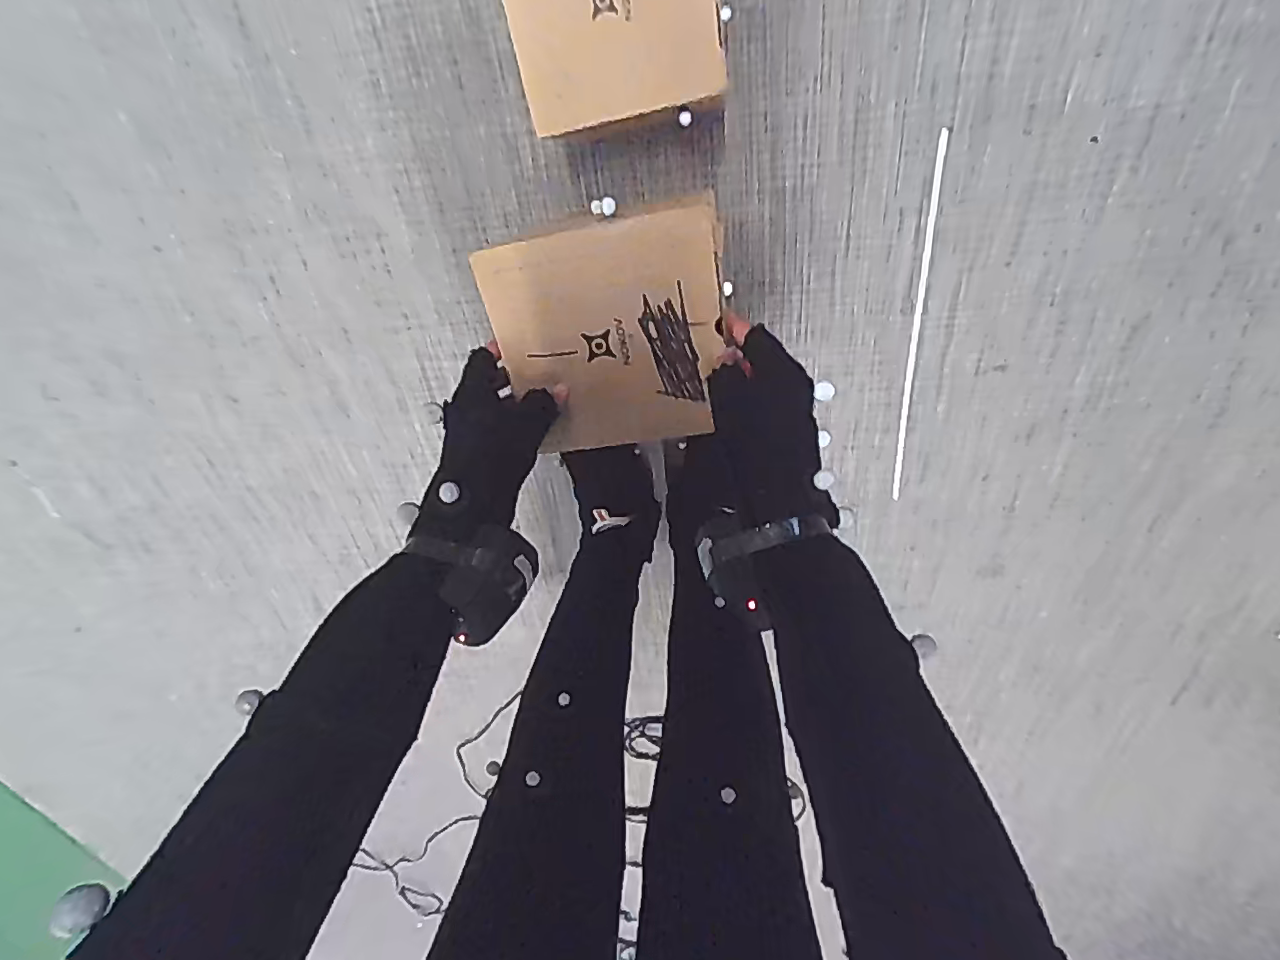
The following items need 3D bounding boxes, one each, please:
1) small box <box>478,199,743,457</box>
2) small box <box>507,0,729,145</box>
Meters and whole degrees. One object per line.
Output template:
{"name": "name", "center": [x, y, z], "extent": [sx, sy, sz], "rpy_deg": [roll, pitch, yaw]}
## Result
{"name": "small box", "center": [-0.009, -0.137, 0.472], "extent": [0.179, 0.176, 0.168], "rpy_deg": [-6, 119, 12]}
{"name": "small box", "center": [-0.012, -0.427, 0.508], "extent": [0.179, 0.176, 0.168], "rpy_deg": [-7, 119, 11]}
